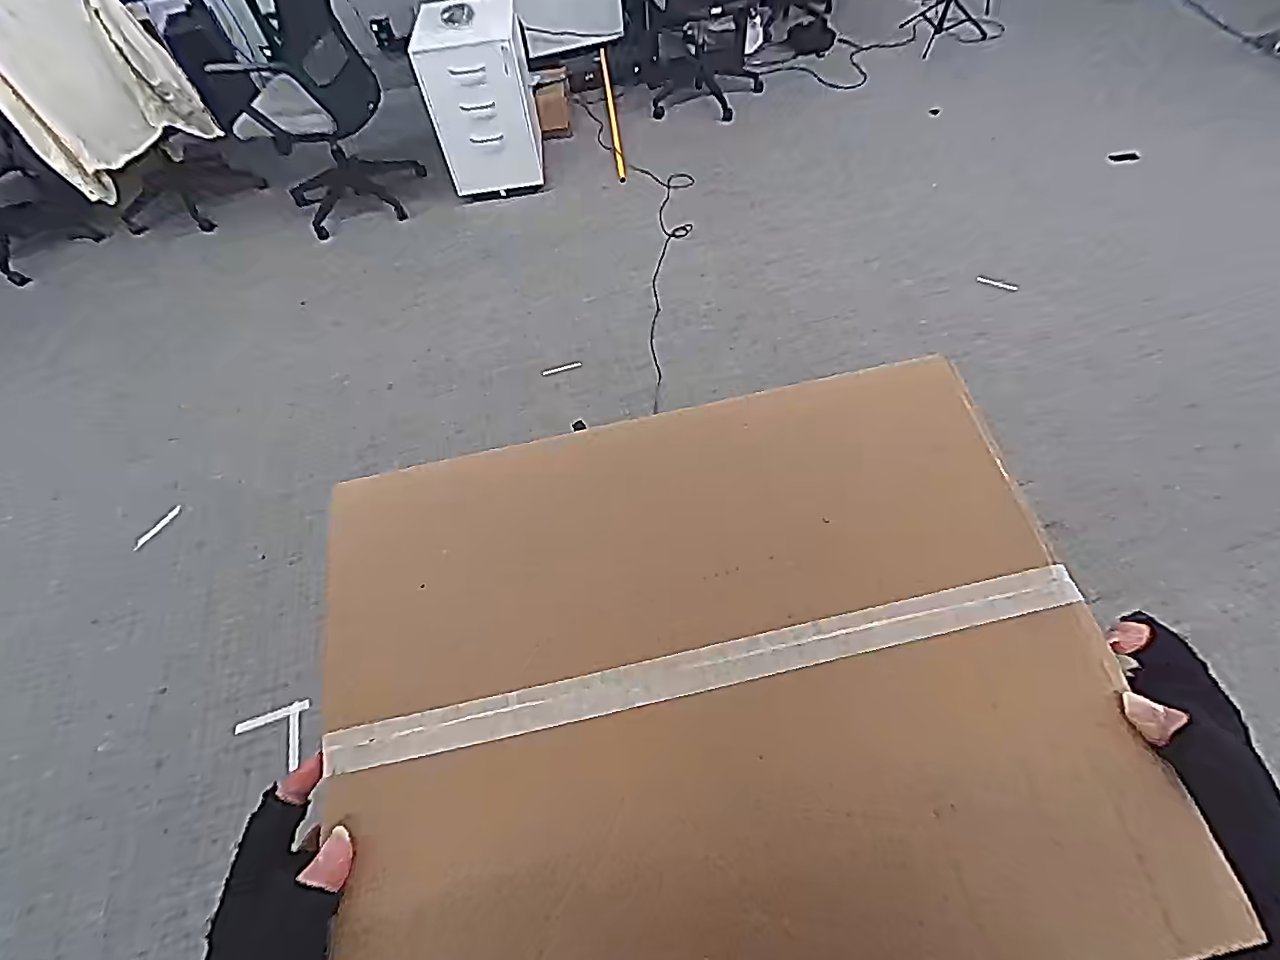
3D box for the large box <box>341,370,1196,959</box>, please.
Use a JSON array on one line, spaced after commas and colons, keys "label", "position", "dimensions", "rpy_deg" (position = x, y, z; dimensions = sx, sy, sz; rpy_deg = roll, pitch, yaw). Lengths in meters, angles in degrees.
[{"label": "large box", "position": [0.044, 0.162, 0.436], "dimensions": [0.408, 0.320, 0.320], "rpy_deg": [-13, 66, -1]}]
